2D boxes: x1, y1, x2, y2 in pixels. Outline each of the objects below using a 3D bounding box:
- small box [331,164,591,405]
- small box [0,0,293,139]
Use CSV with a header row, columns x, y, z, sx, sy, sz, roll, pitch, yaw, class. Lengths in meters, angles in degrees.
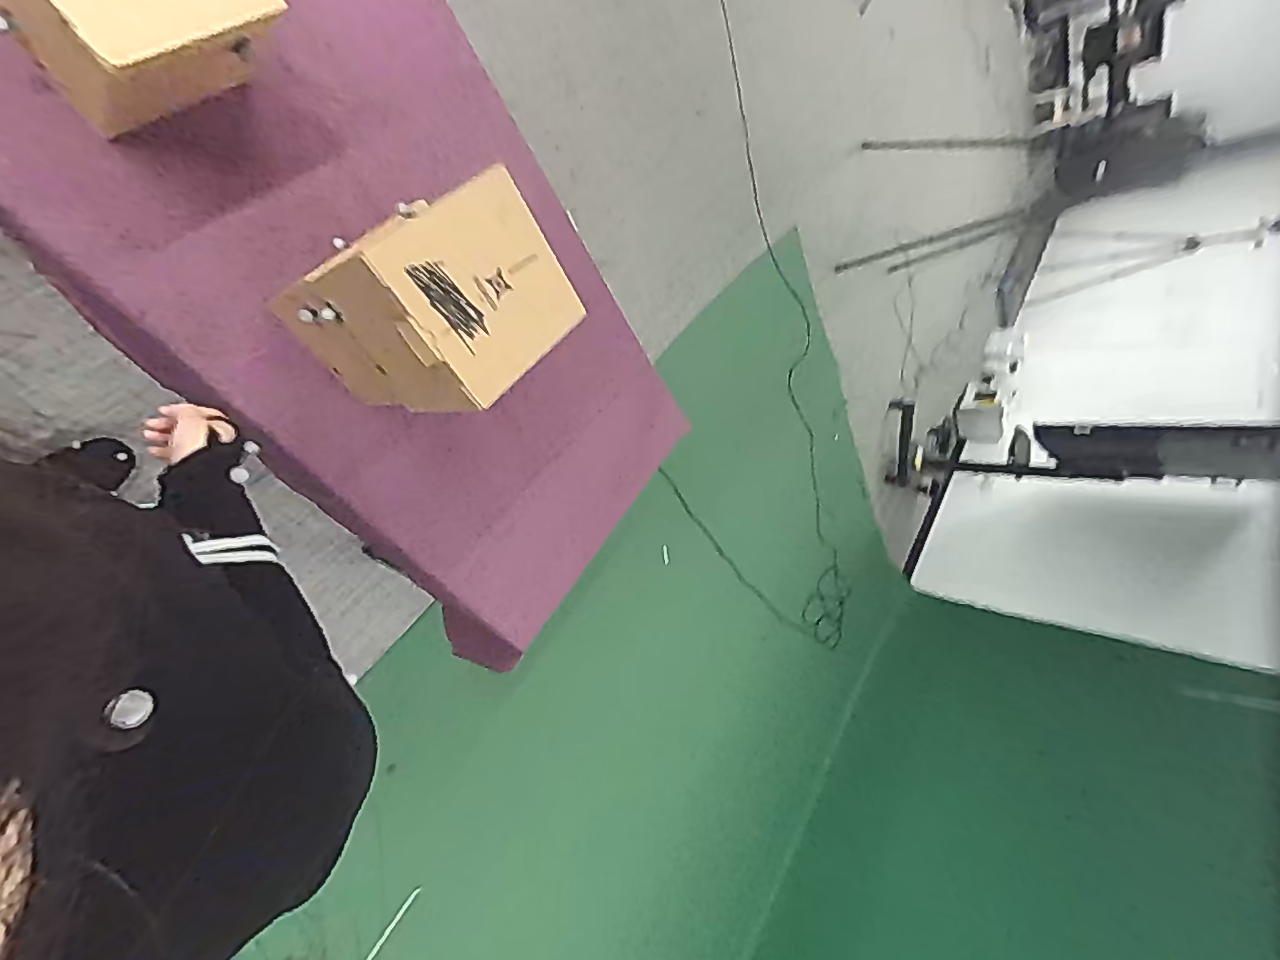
x,y,z,sx,sy,sz,roll,pitch,yaw,class
-0.193,-0.192,0.575,0.179,0.176,0.168,-53,128,-29,small box
-0.473,-0.456,0.496,0.179,0.176,0.168,-52,127,-26,small box
